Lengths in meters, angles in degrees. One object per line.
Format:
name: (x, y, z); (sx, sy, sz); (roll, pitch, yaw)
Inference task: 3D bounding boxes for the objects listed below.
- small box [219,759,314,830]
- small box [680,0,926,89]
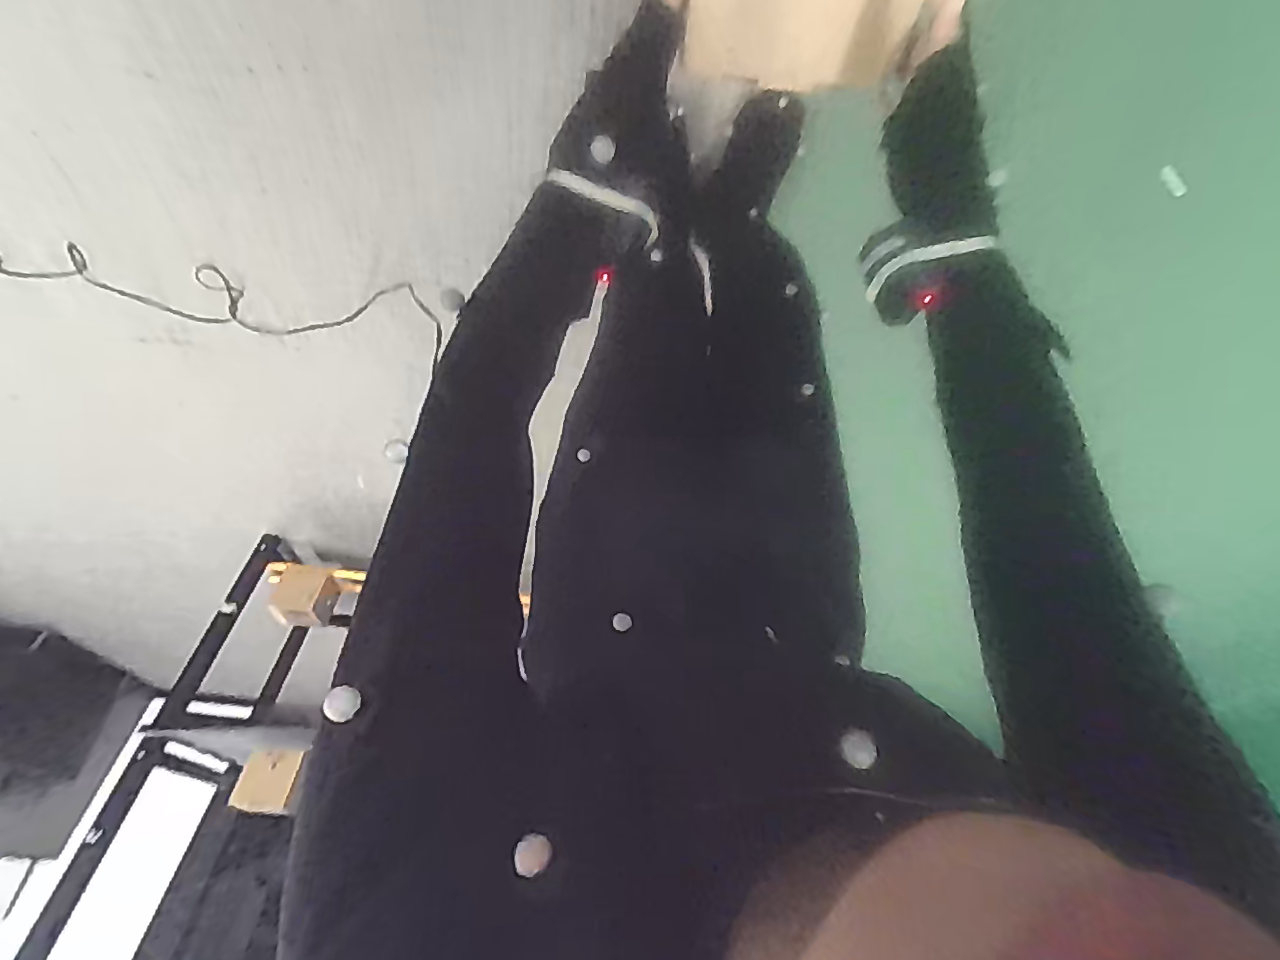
small box: (-1.182, 1.007, 1.729); (0.168, 0.176, 0.179); (7, 142, -4)
small box: (0.120, -0.422, 0.389); (0.168, 0.176, 0.179); (2, 146, -3)
